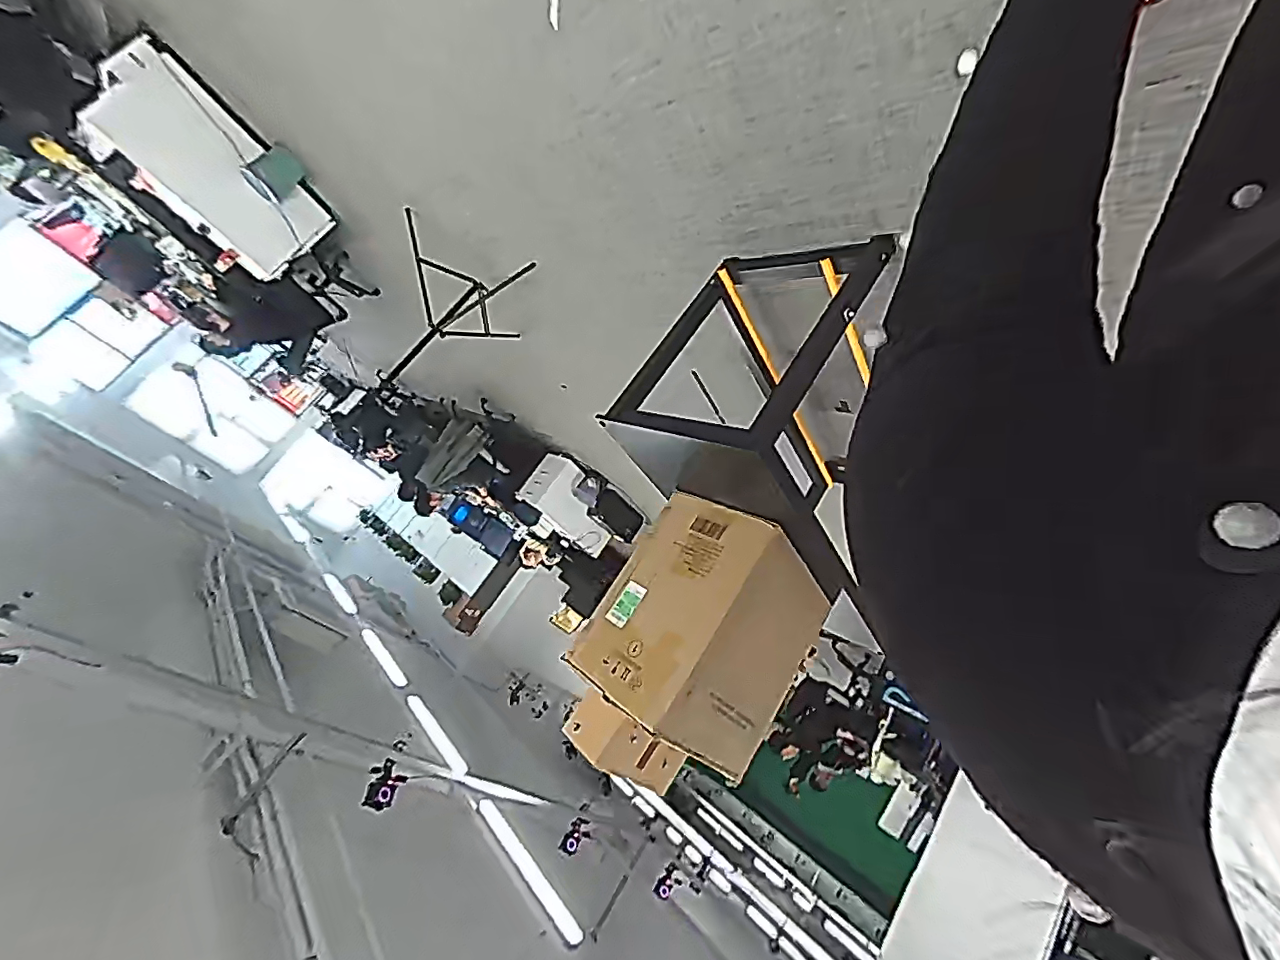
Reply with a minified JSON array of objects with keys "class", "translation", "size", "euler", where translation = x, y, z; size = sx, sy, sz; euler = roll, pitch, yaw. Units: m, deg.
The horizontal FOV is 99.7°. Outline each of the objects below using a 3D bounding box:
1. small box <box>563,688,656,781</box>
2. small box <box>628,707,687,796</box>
[{"class":"small box","translation":[-0.087,0.737,1.589],"size":[0.179,0.176,0.168],"euler":[19,159,50]},{"class":"small box","translation":[0.027,0.867,1.738],"size":[0.179,0.176,0.168],"euler":[17,155,51]}]
